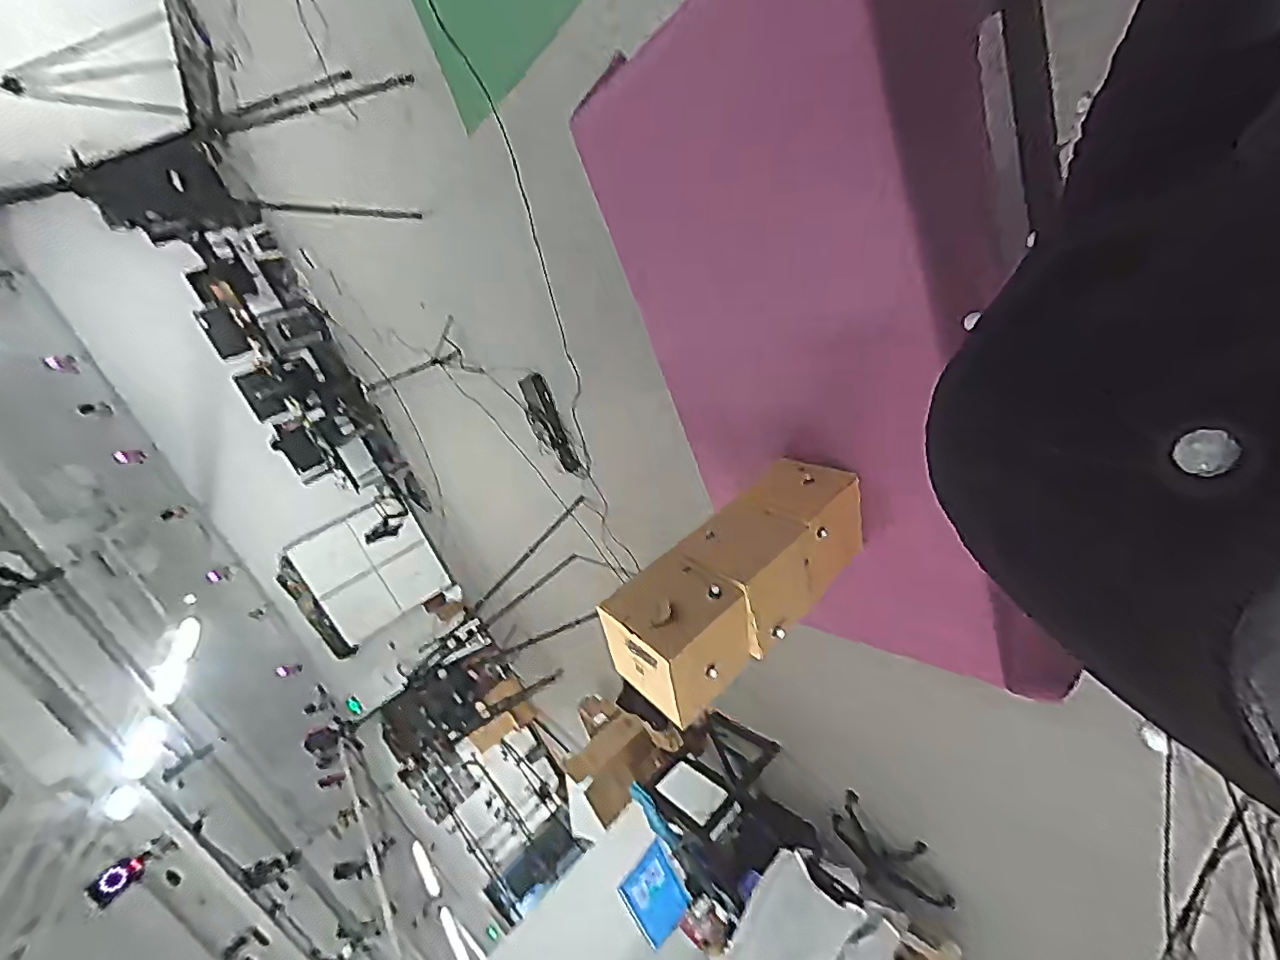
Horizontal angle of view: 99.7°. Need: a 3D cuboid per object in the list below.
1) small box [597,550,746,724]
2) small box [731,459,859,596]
[{"bbox_3d":[0.057,0.245,0.884,0.168,0.176,0.179,27,138,43],"label":"small box"},{"bbox_3d":[0.302,0.083,1.033,0.168,0.176,0.179,18,131,47],"label":"small box"}]
